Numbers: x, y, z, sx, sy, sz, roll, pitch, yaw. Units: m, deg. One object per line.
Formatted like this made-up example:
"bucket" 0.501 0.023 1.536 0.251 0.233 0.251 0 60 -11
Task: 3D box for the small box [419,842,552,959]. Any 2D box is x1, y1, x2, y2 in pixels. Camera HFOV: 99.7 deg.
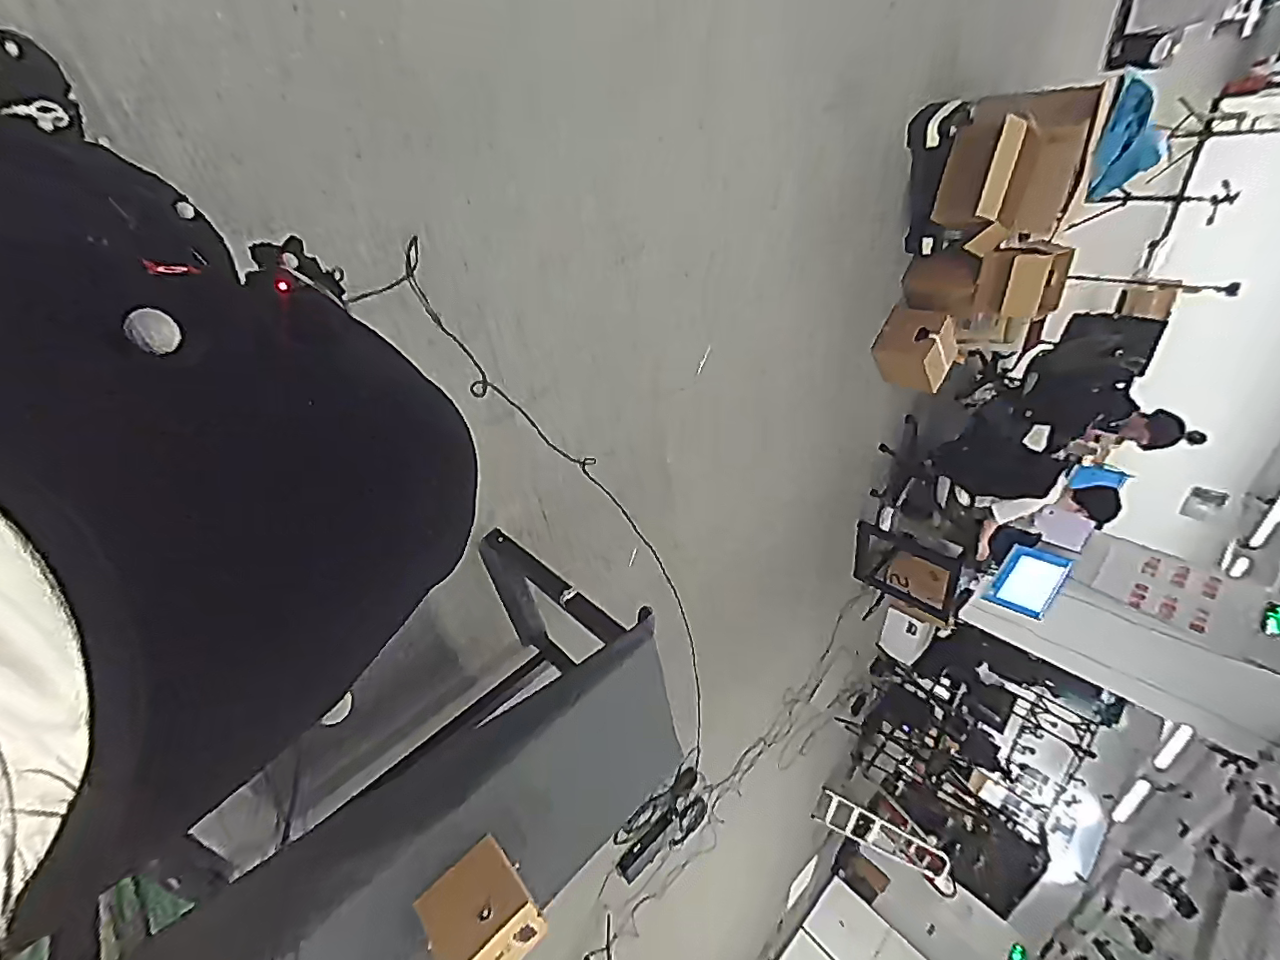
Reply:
"small box" -0.308 0.882 1.083 0.179 0.176 0.168 -33 130 -29
